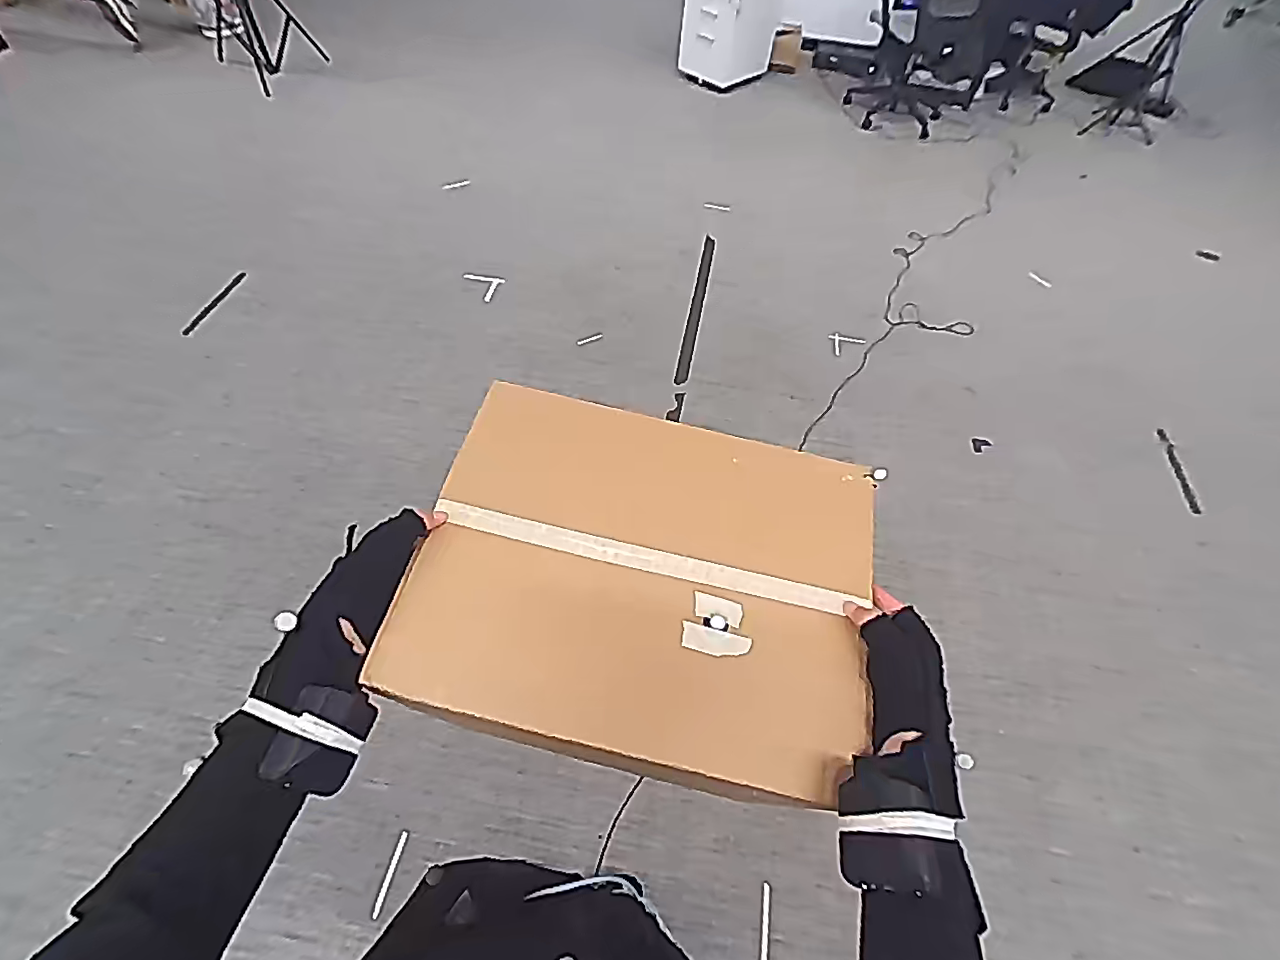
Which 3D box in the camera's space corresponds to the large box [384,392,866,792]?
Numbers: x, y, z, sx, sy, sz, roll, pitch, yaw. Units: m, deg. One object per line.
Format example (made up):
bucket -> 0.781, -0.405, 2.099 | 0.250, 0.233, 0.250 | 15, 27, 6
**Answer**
large box -> -0.002, 0.147, 0.632 | 0.408, 0.320, 0.320 | 14, 62, 1
